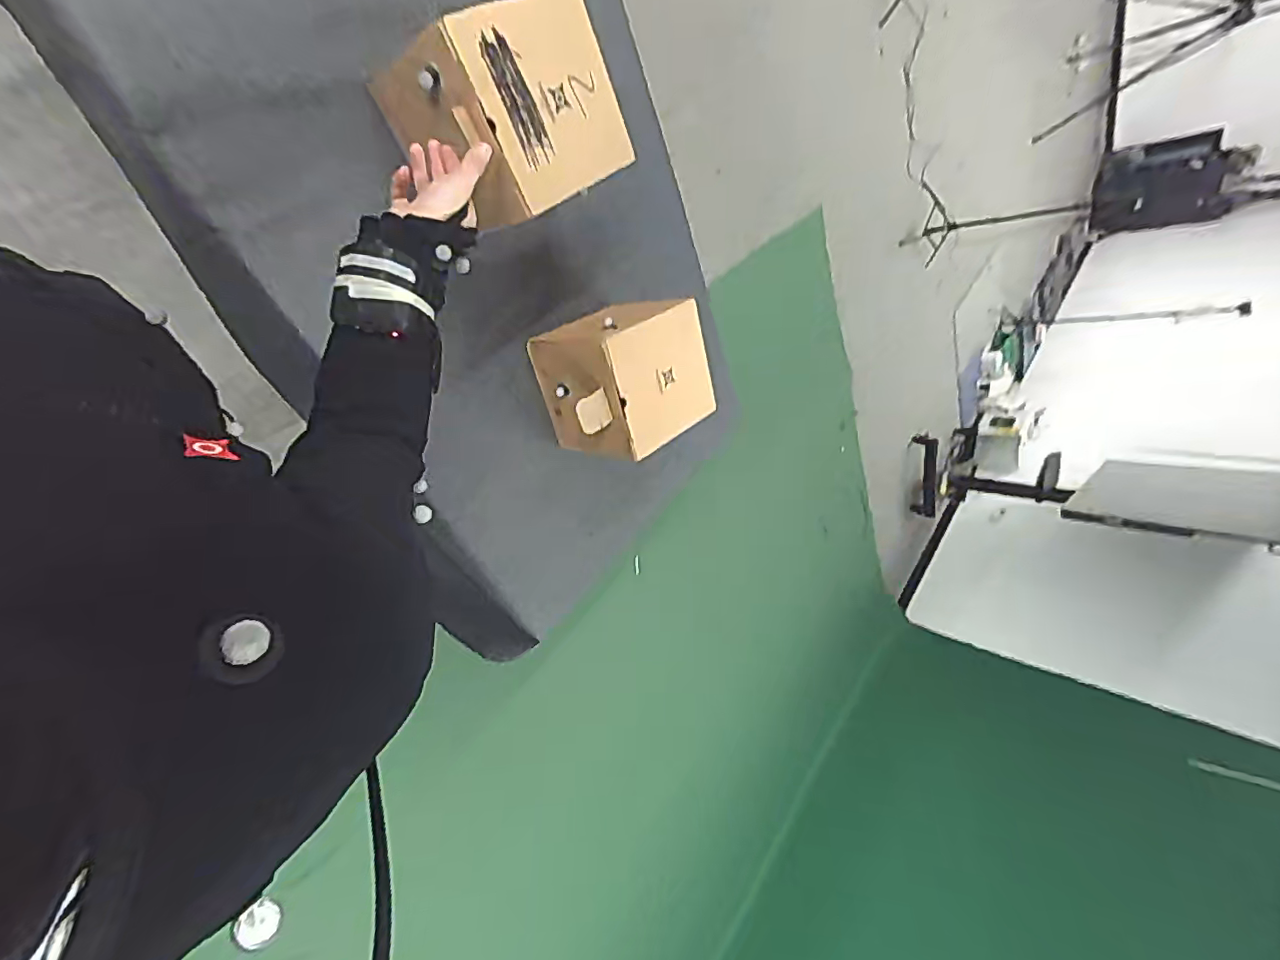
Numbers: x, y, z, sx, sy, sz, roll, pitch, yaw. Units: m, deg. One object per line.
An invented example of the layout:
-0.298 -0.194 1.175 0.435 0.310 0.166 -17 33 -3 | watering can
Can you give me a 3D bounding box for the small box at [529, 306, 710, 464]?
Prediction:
-0.027 -0.144 0.774 0.179 0.176 0.168 -35 123 -34 | small box
